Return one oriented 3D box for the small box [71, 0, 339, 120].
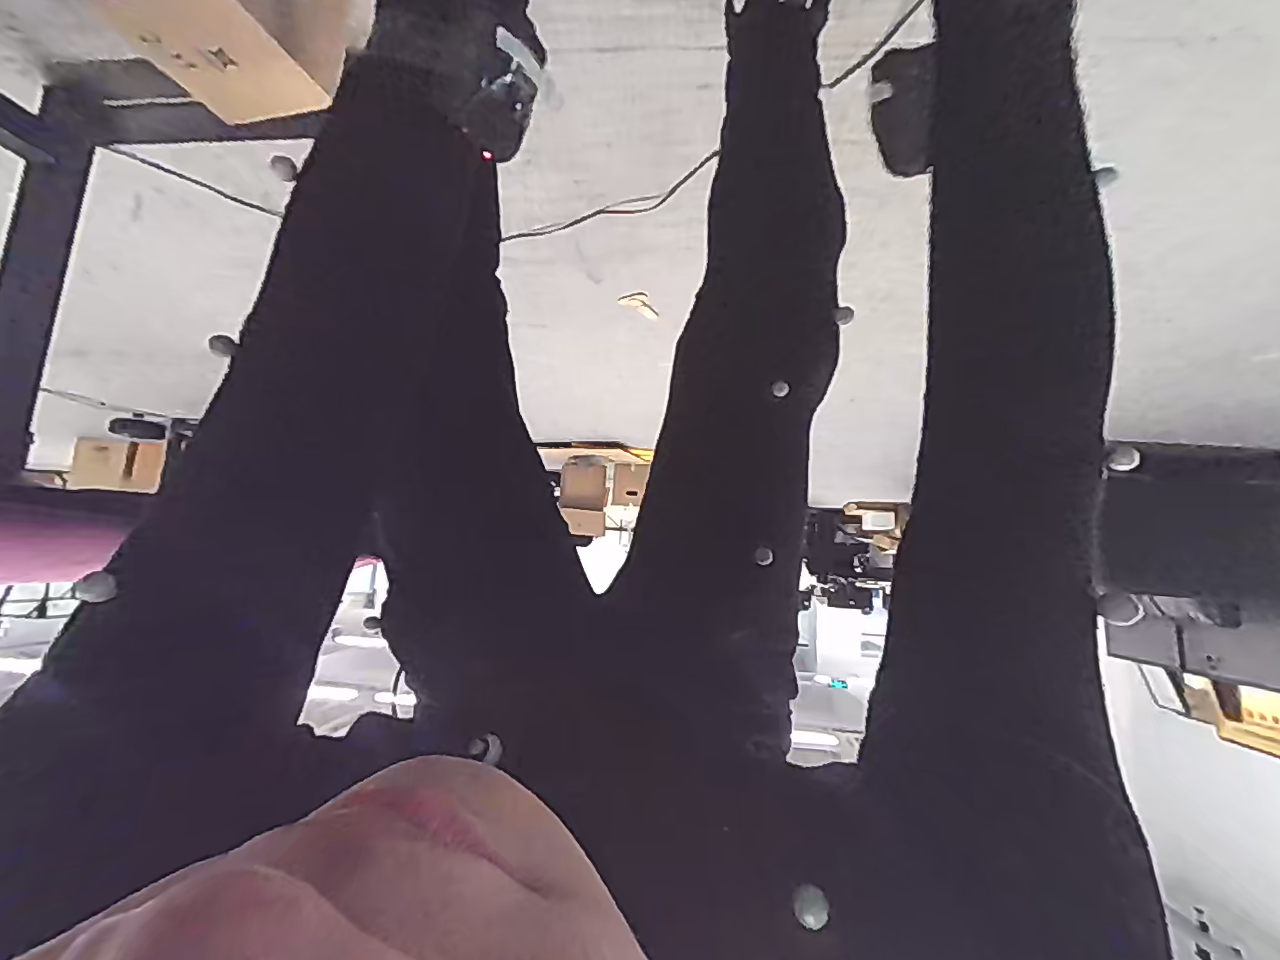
[{"bbox_3d":[-0.466,-0.550,0.602,0.179,0.176,0.168,1,171,14],"label":"small box"}]
